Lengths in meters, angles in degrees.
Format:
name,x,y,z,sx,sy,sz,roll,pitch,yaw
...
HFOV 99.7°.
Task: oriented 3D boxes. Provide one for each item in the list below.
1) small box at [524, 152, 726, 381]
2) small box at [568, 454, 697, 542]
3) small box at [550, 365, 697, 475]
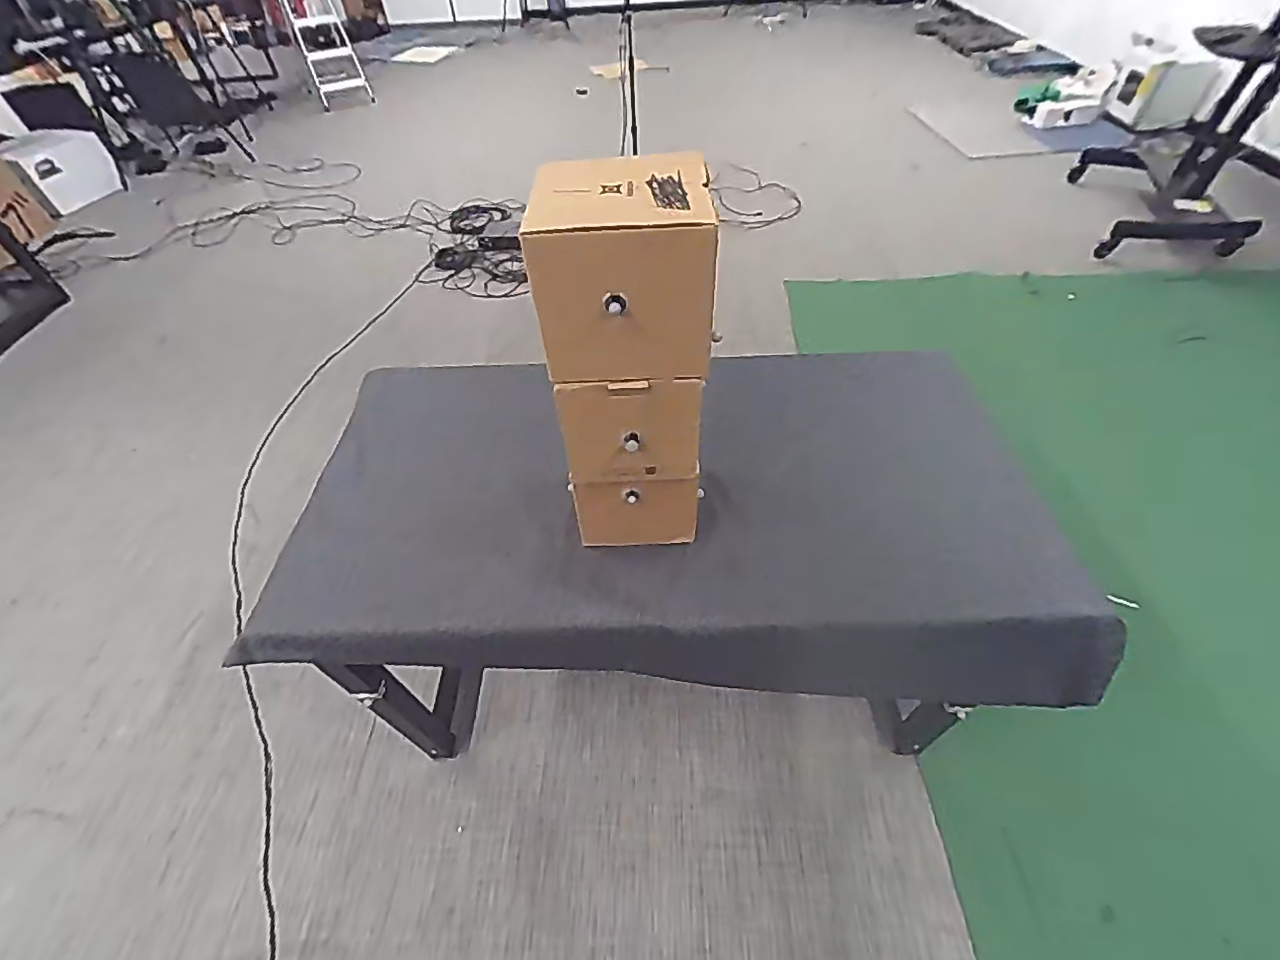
name,x,y,z,sx,sy,sz,roll,pitch,yaw
small box,-0.015,-0.221,0.572,0.179,0.176,0.168,-3,50,-1
small box,-0.007,-0.017,0.828,0.179,0.176,0.168,-1,50,0
small box,-0.014,-0.118,0.700,0.168,0.176,0.179,-2,51,1
